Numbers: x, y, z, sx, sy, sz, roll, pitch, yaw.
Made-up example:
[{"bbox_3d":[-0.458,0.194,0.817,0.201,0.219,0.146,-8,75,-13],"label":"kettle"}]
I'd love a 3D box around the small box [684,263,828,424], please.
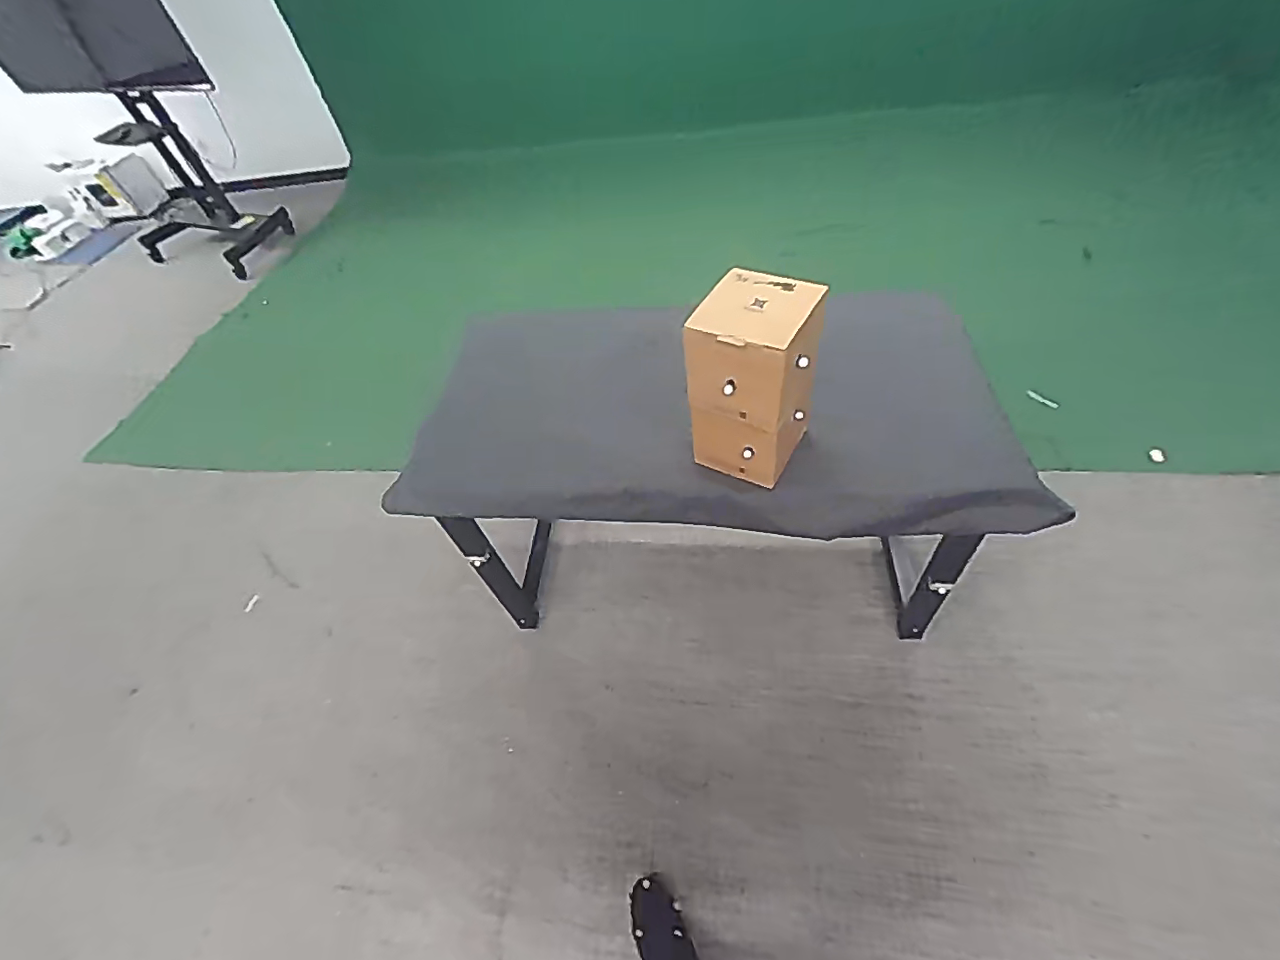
[{"bbox_3d":[0.189,-0.220,0.886,0.168,0.176,0.179,23,60,24],"label":"small box"}]

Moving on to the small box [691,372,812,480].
[{"bbox_3d":[0.211,-0.129,1.021,0.168,0.176,0.179,22,58,24],"label":"small box"}]
